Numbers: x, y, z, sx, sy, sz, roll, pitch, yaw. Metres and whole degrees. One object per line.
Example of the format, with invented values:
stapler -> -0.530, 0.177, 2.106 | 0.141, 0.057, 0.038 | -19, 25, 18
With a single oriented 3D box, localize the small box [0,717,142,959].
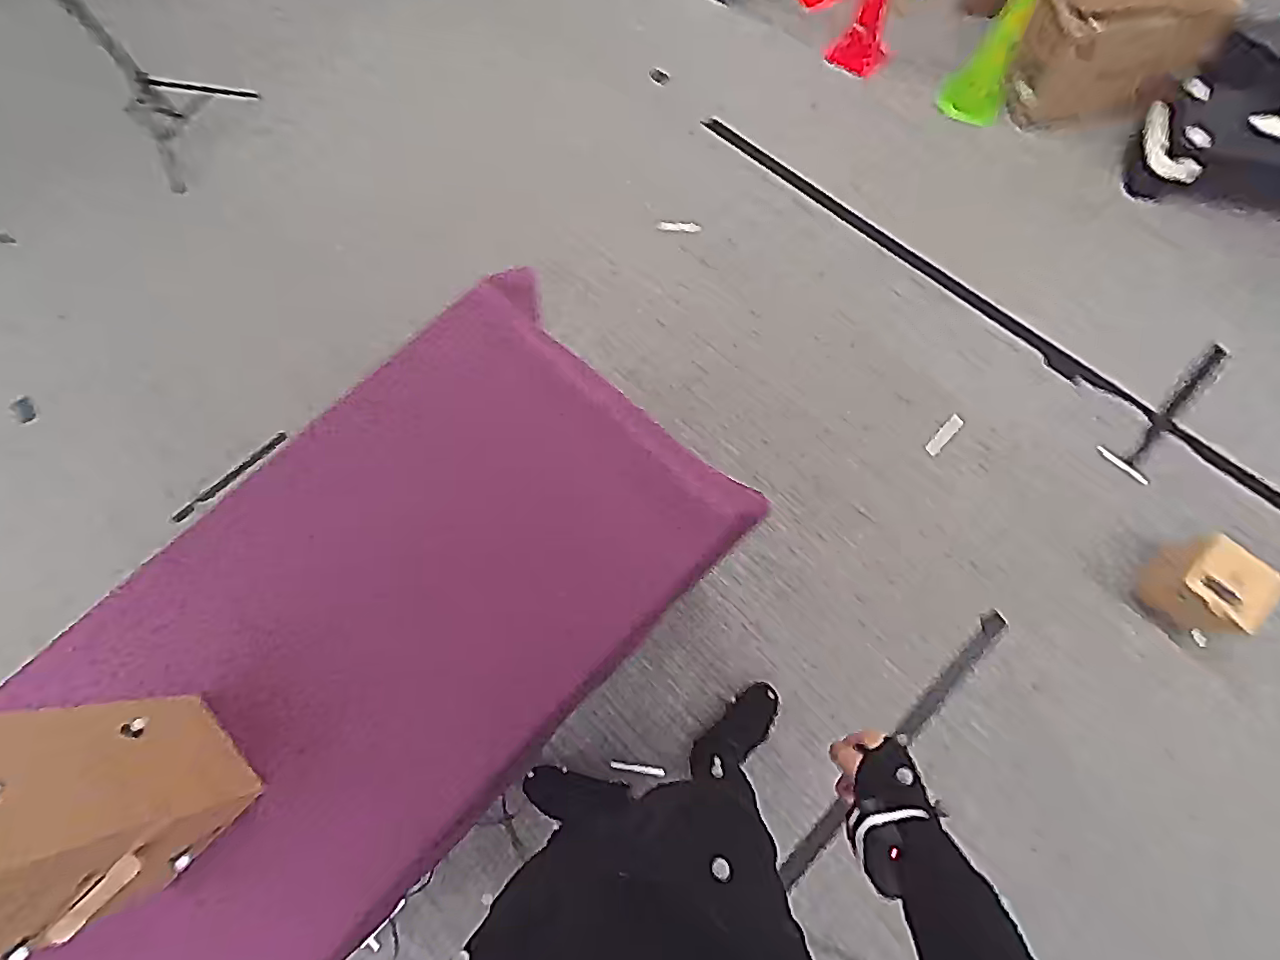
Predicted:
small box -> -0.632, 0.343, 0.496 | 0.179, 0.176, 0.168 | 38, 78, 13

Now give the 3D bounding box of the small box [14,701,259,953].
small box -> -0.623, 0.390, 0.653 | 0.179, 0.176, 0.168 | 42, 80, 13
